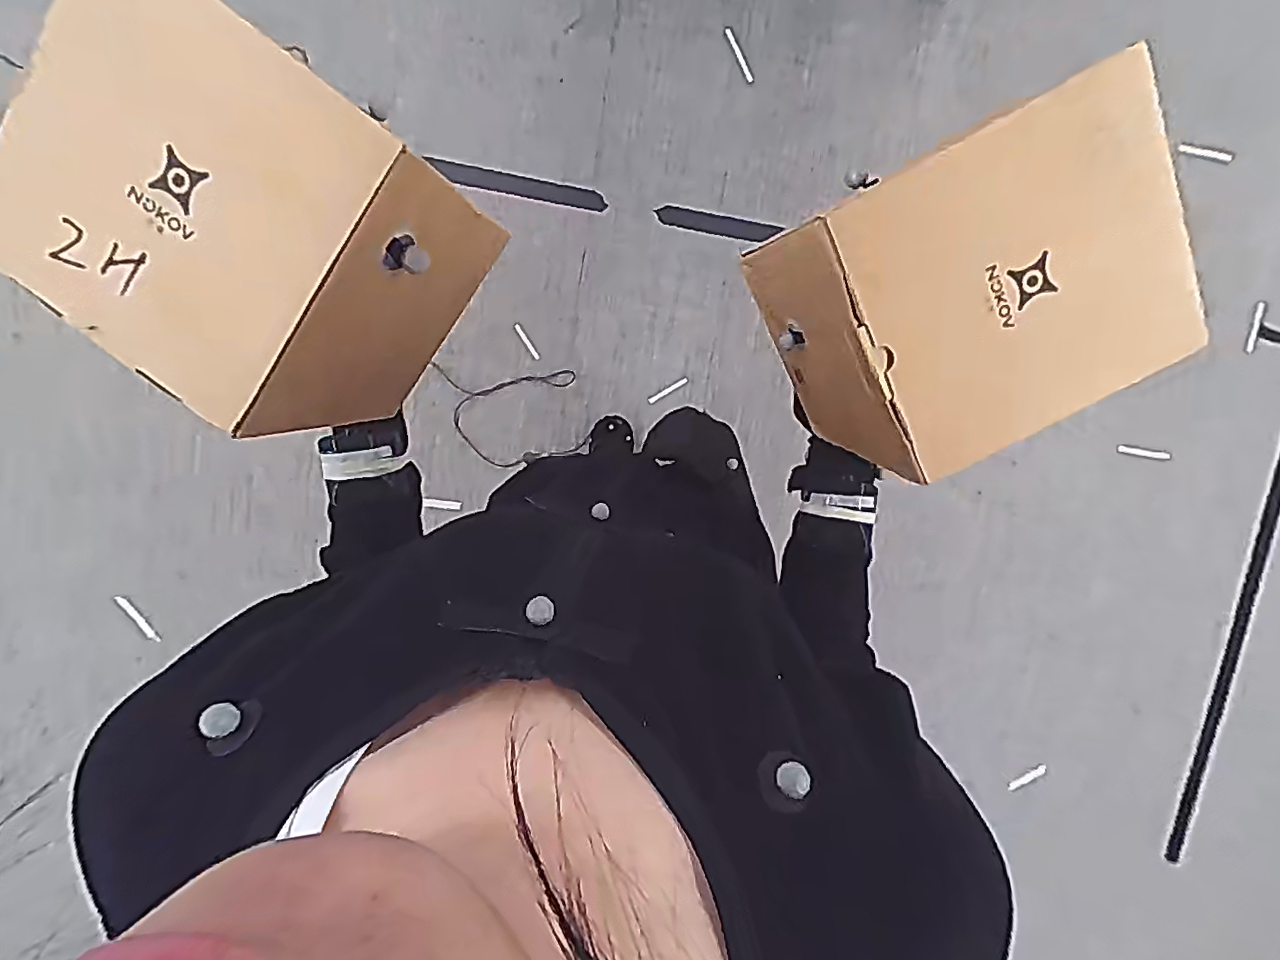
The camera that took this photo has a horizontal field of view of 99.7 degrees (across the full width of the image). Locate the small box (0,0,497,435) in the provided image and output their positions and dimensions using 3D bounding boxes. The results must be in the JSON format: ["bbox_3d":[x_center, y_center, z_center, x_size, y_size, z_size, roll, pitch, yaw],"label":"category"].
[{"bbox_3d":[-0.213,-0.153,0.342,0.168,0.176,0.179,37,101,-3],"label":"small box"}]

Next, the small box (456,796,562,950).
[{"bbox_3d":[-0.240,0.725,1.013,0.168,0.176,0.179,1,97,-1],"label":"small box"}]

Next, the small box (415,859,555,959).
[{"bbox_3d":[-0.241,0.739,0.850,0.179,0.176,0.168,7,96,-2],"label":"small box"}]

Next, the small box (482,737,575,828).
[{"bbox_3d":[-0.248,0.691,1.172,0.179,0.176,0.168,17,95,-3],"label":"small box"}]

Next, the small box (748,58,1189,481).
[{"bbox_3d":[0.200,-0.128,0.373,0.179,0.176,0.168,-28,106,4],"label":"small box"}]
